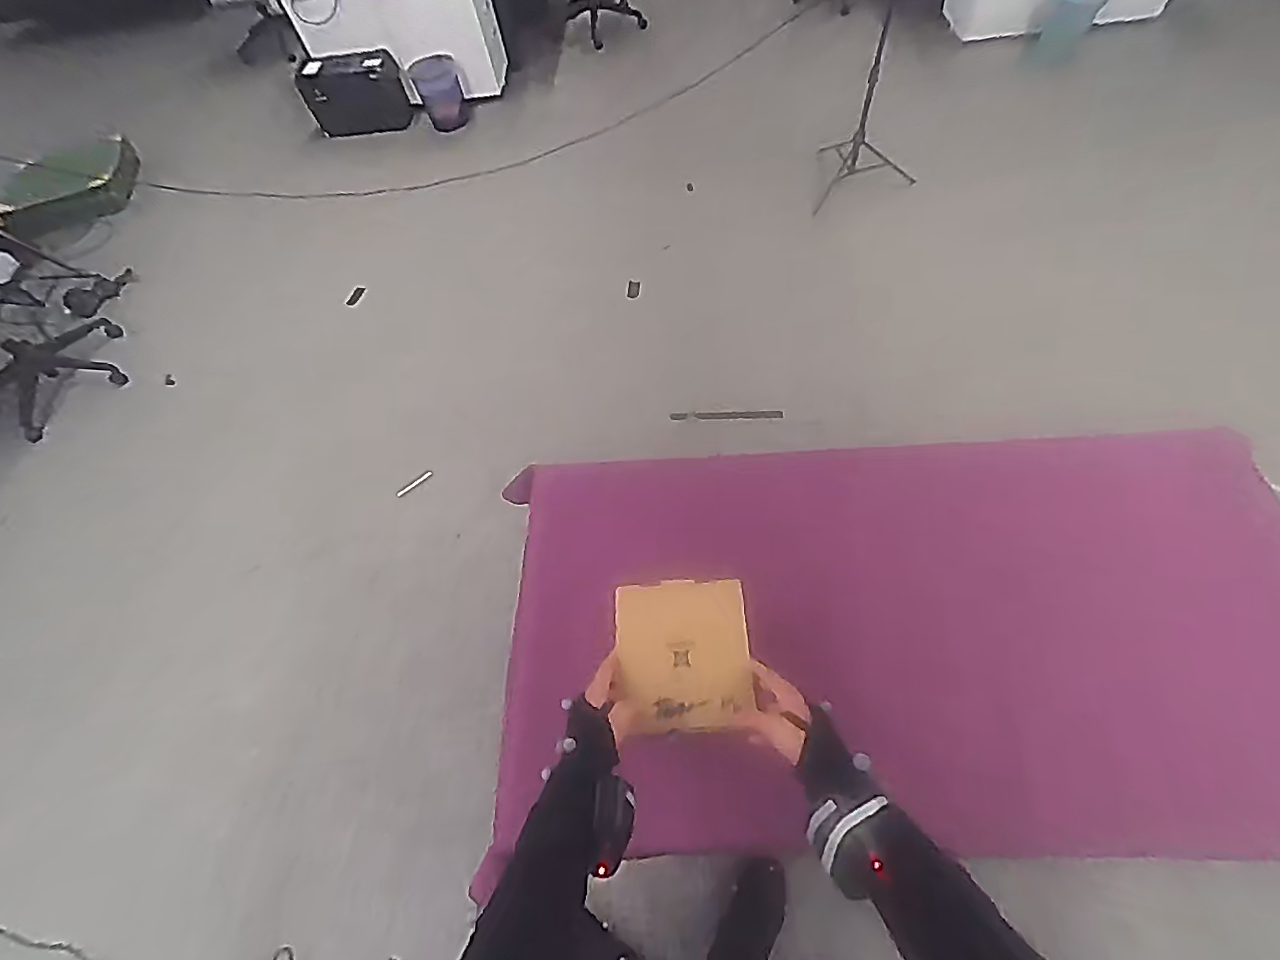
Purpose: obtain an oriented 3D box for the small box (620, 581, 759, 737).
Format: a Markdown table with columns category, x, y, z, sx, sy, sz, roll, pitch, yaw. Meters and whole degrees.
| category | x | y | z | sx | sy | sz | roll | pitch | yaw |
| --- | --- | --- | --- | --- | --- | --- | --- | --- | --- |
| small box | 0.063 | 0.249 | 0.739 | 0.168 | 0.176 | 0.179 | -4 | 63 | 5 |
